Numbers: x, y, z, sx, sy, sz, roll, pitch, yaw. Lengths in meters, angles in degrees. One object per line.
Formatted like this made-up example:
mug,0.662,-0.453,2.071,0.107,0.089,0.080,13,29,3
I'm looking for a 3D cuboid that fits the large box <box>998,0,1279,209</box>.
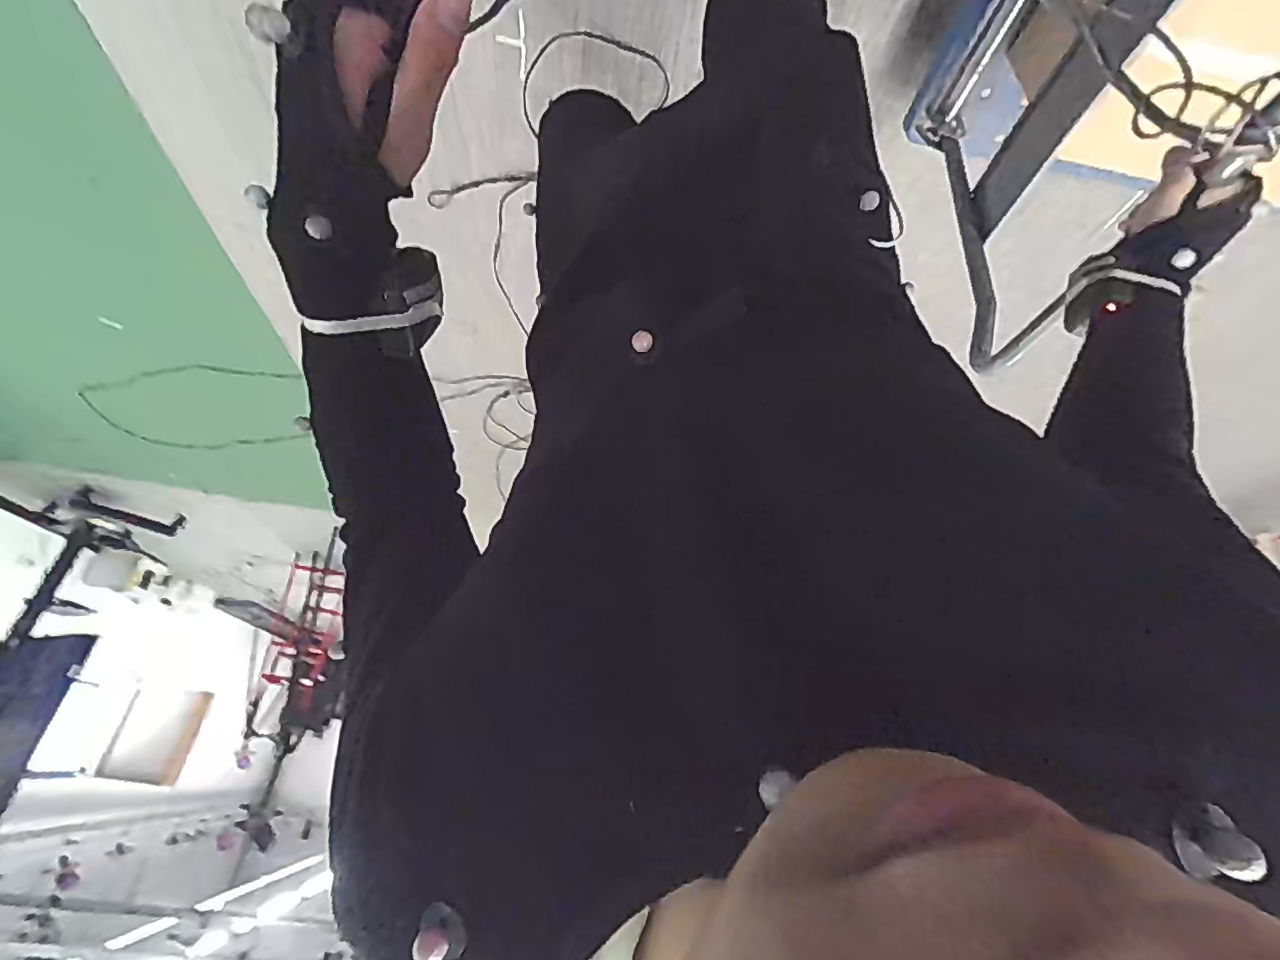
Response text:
large box,0.852,-0.668,0.803,0.408,0.320,0.320,8,151,-6
